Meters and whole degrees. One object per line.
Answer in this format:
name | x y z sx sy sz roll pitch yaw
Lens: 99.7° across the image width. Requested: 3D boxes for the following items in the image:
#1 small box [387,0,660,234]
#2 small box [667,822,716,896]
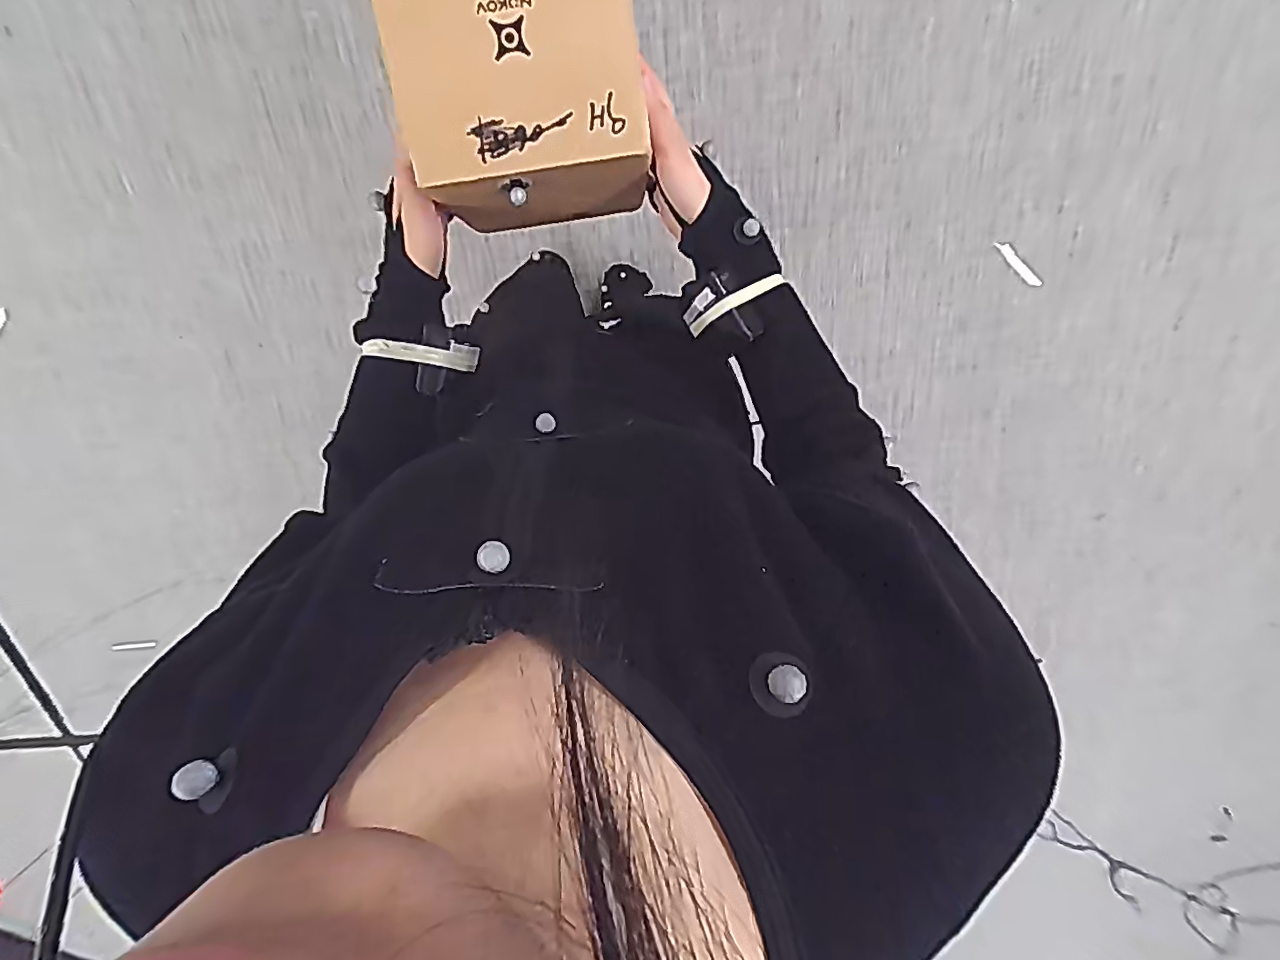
small box | -0.082 -0.313 0.426 0.168 0.176 0.179 -9 104 0
small box | 0.189 1.408 2.018 0.168 0.176 0.179 -5 113 2
